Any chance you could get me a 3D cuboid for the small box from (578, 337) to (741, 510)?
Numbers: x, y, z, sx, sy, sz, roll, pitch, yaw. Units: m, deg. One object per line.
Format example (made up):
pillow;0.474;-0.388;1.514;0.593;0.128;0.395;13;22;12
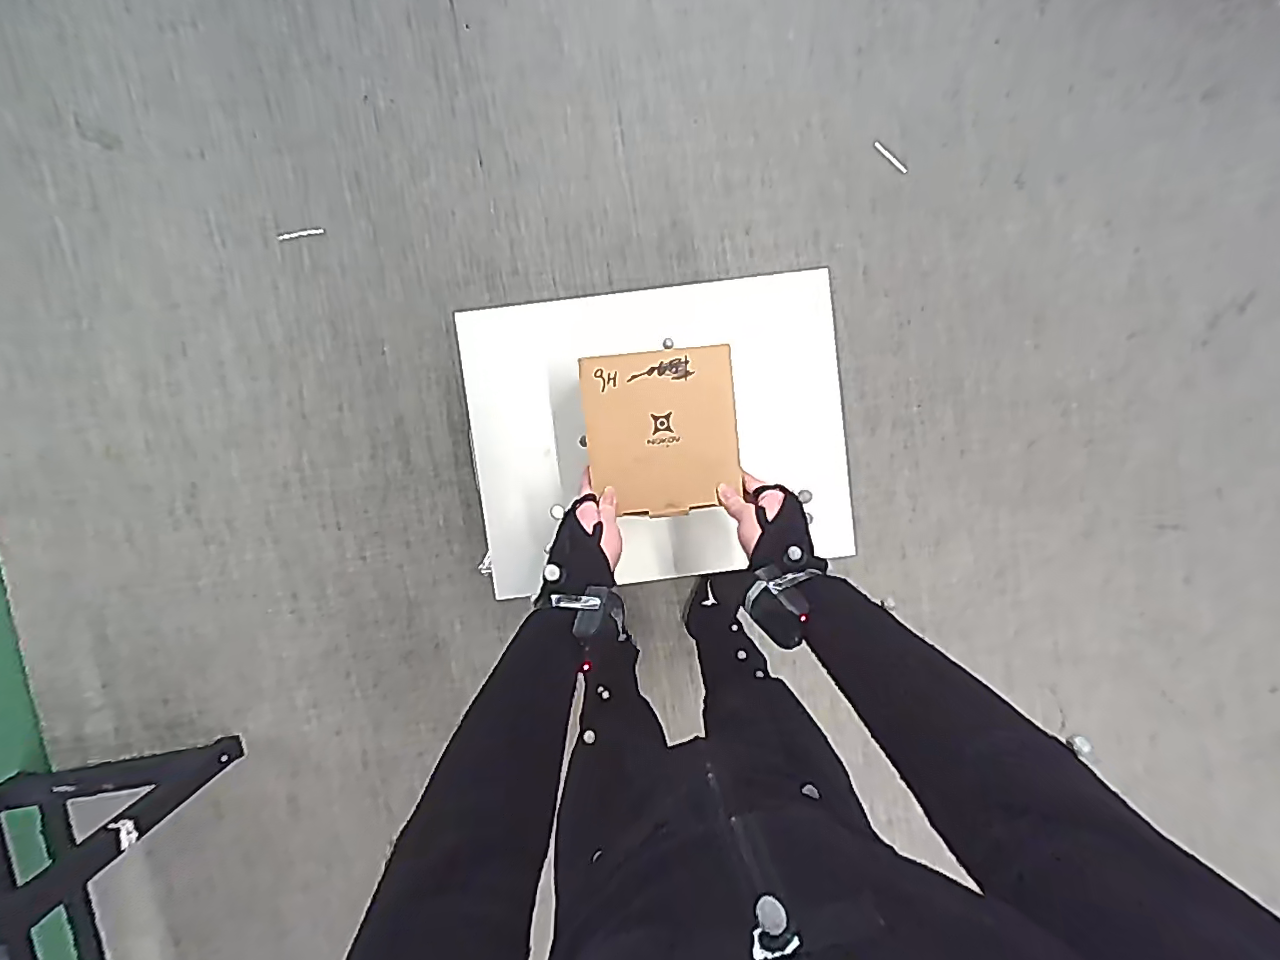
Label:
small box;0.022;-0.067;0.671;0.168;0.176;0.179;-7;93;0
